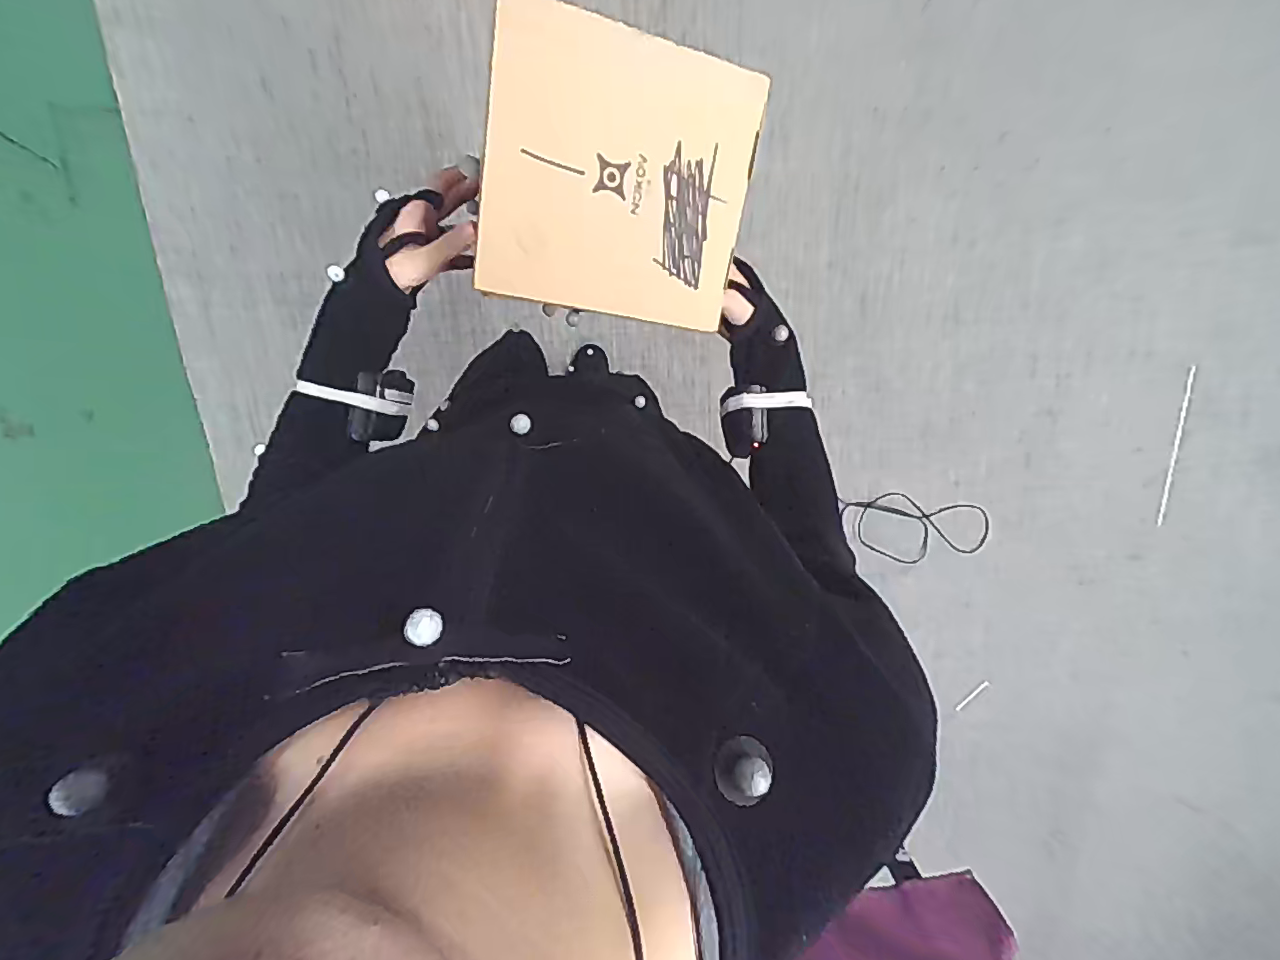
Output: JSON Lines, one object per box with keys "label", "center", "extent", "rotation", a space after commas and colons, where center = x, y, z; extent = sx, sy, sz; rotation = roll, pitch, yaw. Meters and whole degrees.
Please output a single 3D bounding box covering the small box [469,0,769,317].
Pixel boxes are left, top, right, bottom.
{"label": "small box", "center": [-0.033, -0.230, 0.419], "extent": [0.179, 0.176, 0.168], "rotation": [6, 107, -18]}
